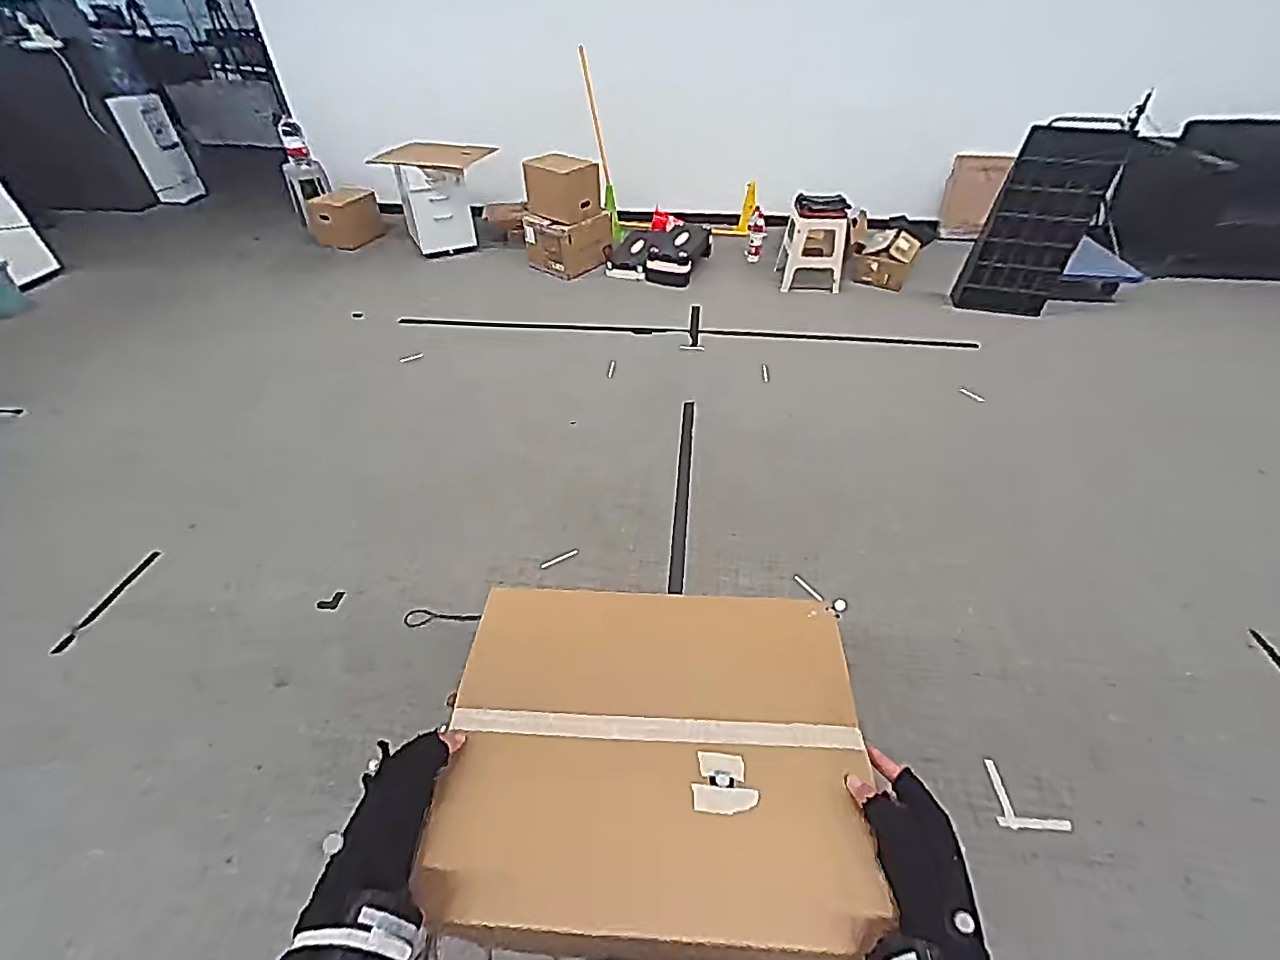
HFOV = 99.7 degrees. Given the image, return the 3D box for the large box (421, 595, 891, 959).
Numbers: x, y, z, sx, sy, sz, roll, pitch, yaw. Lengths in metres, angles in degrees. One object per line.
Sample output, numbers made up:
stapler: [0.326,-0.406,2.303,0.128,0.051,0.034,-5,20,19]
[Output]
large box: [0.018,0.361,0.657,0.408,0.320,0.320,2,46,3]
